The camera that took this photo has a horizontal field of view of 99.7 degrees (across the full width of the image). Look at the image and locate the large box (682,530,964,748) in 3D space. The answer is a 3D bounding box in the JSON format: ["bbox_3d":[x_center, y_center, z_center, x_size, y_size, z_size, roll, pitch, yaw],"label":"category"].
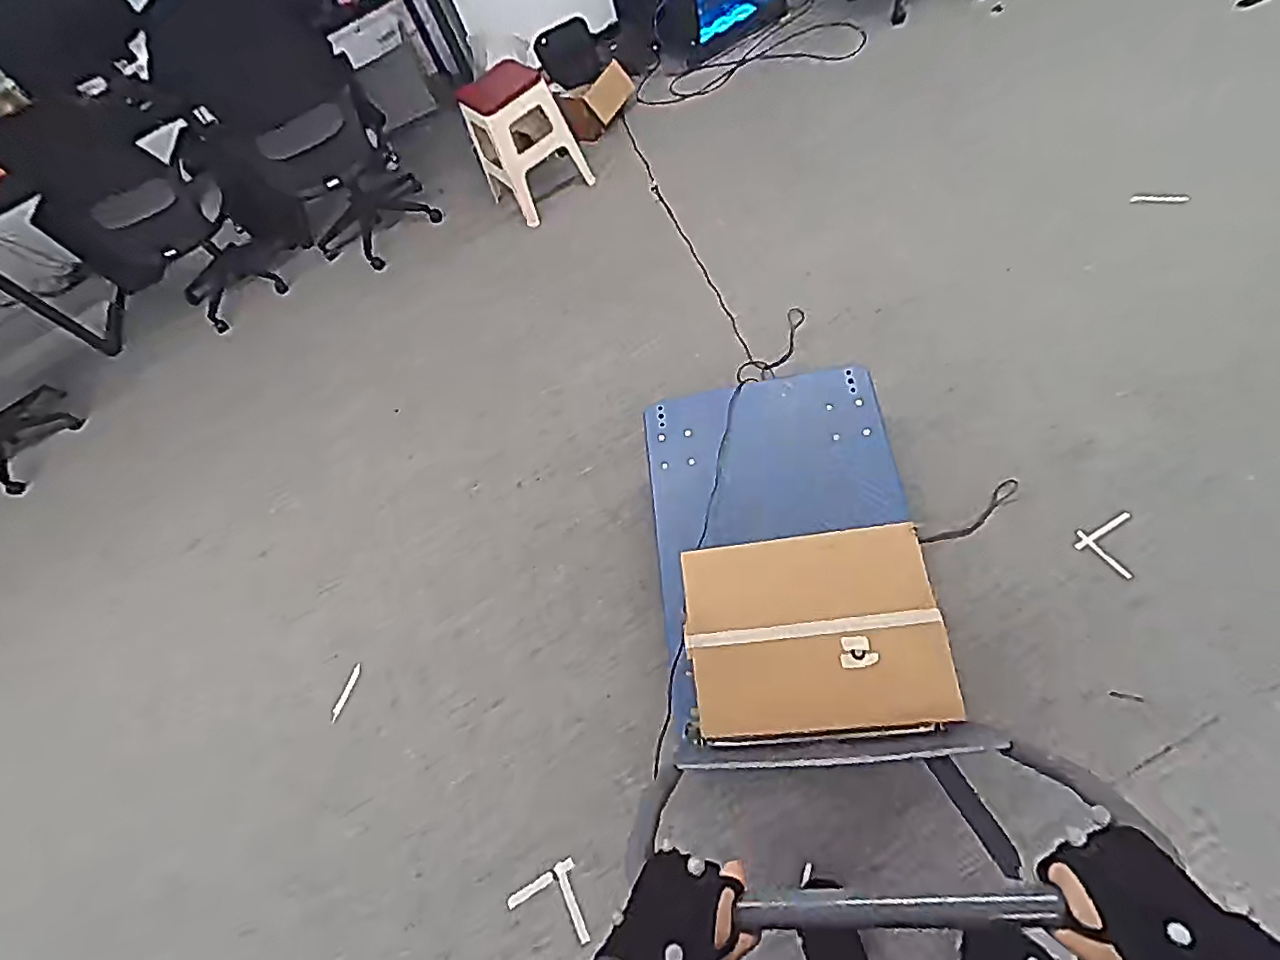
[{"bbox_3d":[0.310,0.307,1.030,0.408,0.320,0.320,-9,70,9],"label":"large box"}]
